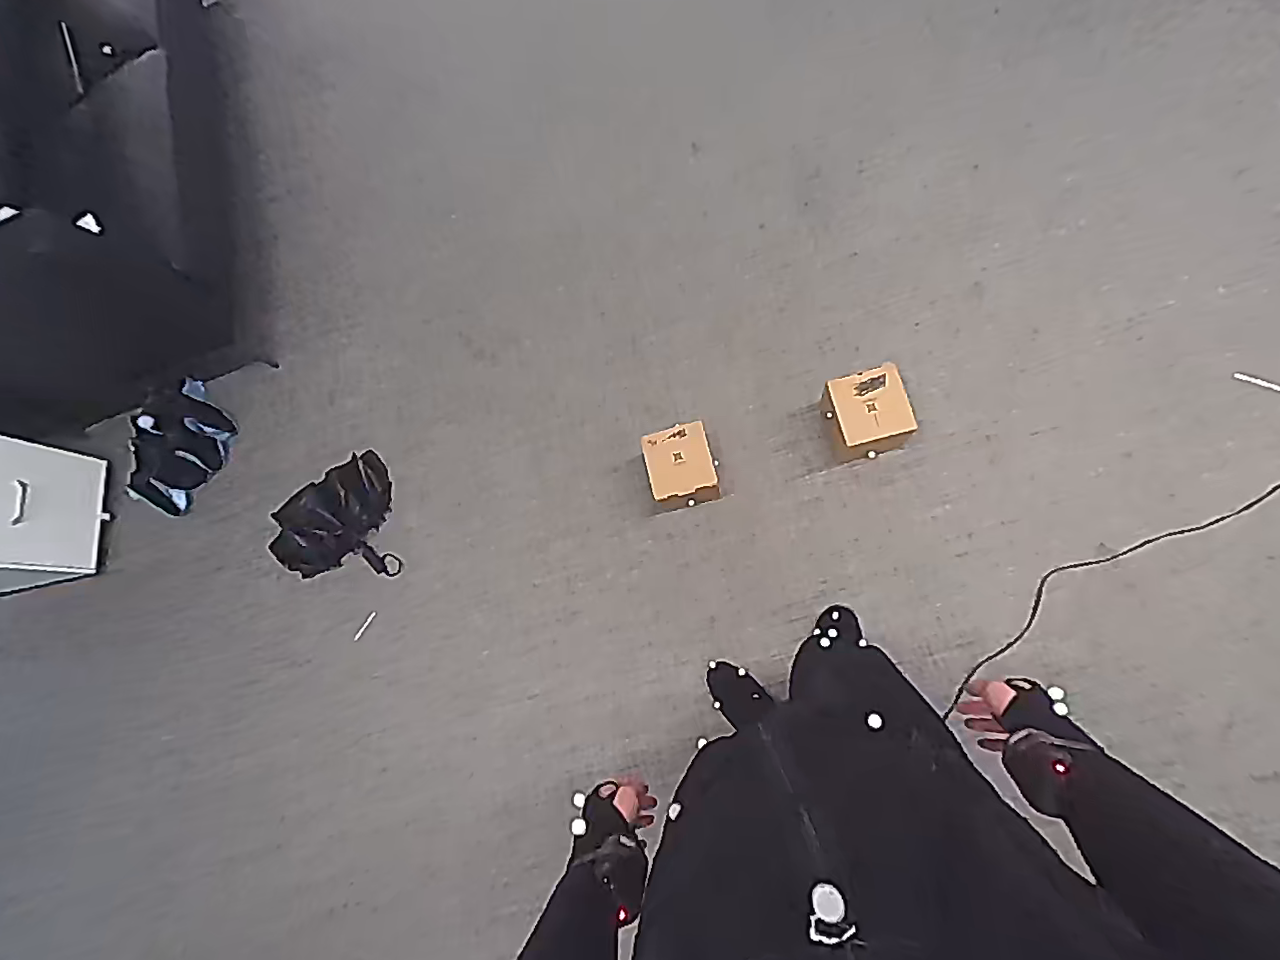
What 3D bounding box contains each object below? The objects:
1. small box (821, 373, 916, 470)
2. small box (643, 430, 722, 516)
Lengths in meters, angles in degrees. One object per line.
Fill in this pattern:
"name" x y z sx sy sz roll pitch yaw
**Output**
"small box" 0.572 -0.143 1.379 0.168 0.176 0.179 -15 75 9
"small box" 0.119 -0.009 1.445 0.168 0.176 0.179 -15 73 8
